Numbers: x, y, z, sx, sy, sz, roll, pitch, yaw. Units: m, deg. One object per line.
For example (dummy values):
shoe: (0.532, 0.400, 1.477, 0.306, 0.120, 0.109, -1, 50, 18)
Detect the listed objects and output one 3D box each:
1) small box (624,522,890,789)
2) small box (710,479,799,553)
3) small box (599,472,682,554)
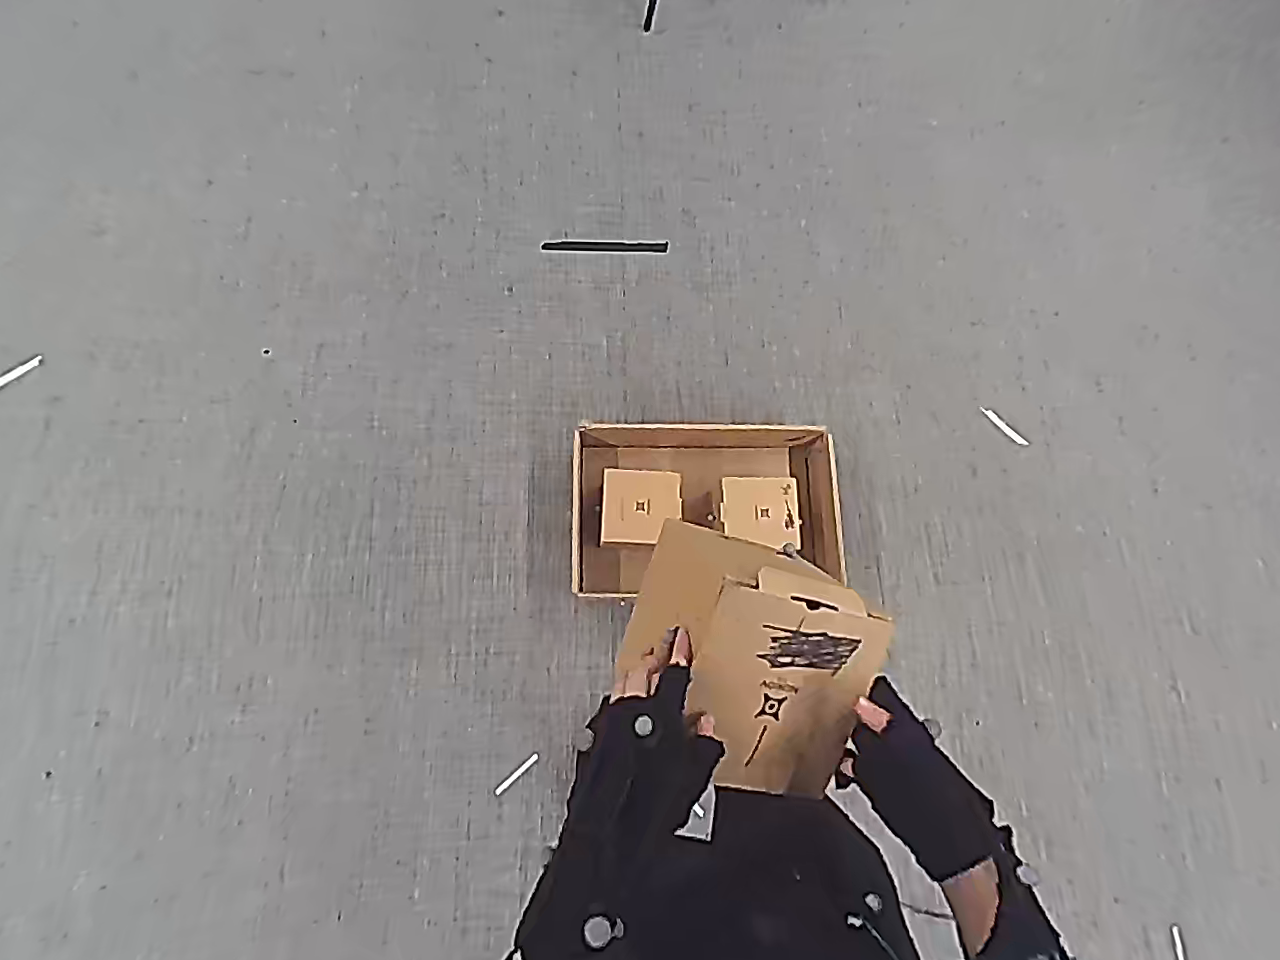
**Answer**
small box: (0.094, 0.155, 0.522, 0.168, 0.176, 0.179, 16, 97, -15)
small box: (0.264, 0.097, 1.293, 0.179, 0.176, 0.168, 0, 78, -3)
small box: (-0.003, 0.083, 1.273, 0.179, 0.176, 0.168, 3, 76, -4)
